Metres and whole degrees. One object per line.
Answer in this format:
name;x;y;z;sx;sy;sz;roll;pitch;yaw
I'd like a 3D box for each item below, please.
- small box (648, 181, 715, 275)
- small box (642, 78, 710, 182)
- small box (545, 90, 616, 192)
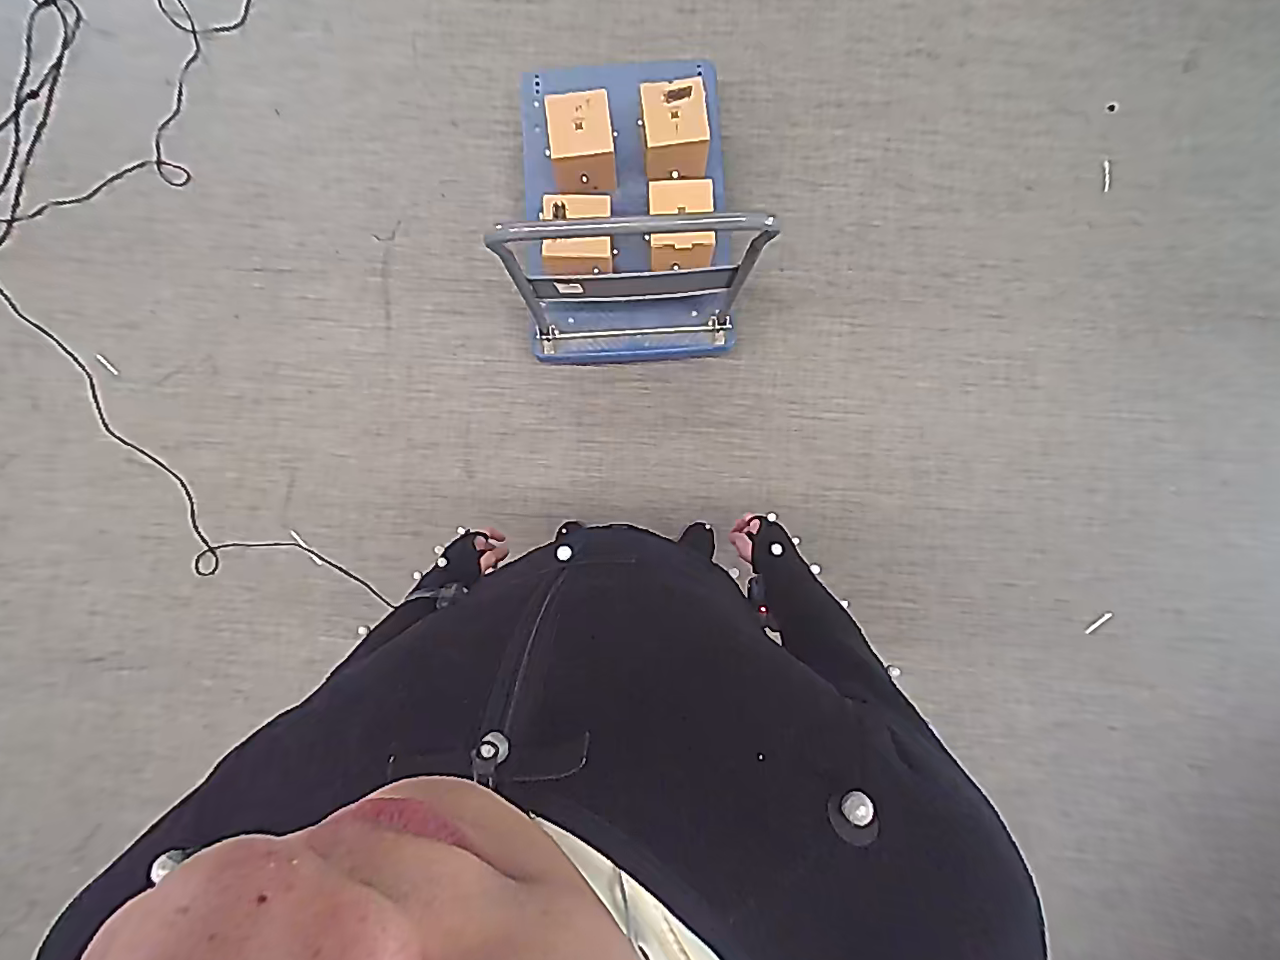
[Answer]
small box;0.108;-0.674;1.458;0.168;0.176;0.179;-2;86;0
small box;0.093;-0.944;1.476;0.168;0.176;0.179;-7;87;1
small box;-0.157;-0.912;1.476;0.168;0.176;0.179;-7;86;-1
